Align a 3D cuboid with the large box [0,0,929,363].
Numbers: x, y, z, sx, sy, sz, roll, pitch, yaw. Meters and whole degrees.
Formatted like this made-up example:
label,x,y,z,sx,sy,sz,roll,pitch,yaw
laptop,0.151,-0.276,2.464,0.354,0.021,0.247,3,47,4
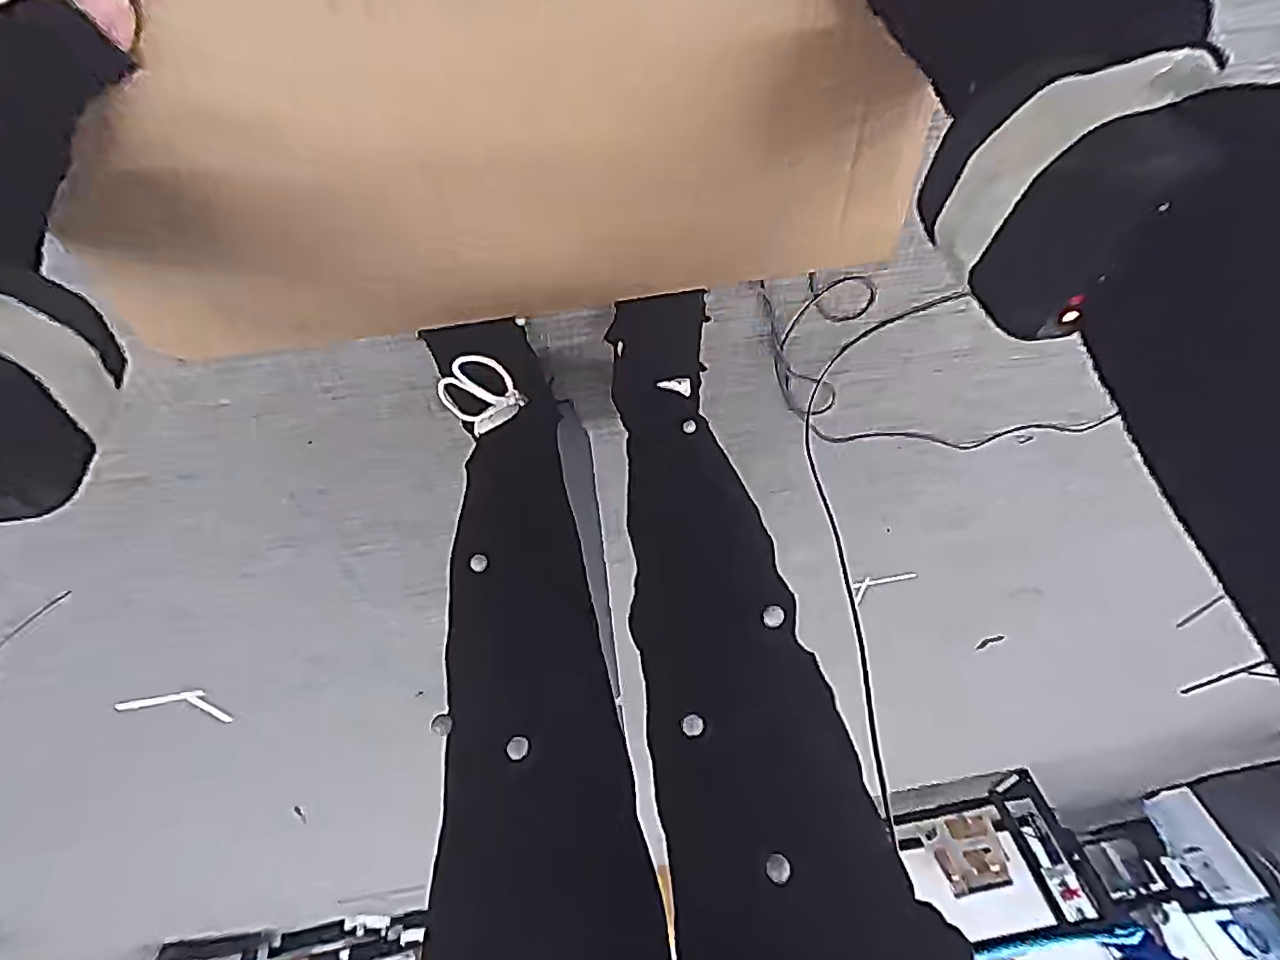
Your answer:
label,x,y,z,sx,sy,sz,roll,pitch,yaw
large box,-0.093,-0.310,0.298,0.408,0.320,0.320,-10,137,-3
